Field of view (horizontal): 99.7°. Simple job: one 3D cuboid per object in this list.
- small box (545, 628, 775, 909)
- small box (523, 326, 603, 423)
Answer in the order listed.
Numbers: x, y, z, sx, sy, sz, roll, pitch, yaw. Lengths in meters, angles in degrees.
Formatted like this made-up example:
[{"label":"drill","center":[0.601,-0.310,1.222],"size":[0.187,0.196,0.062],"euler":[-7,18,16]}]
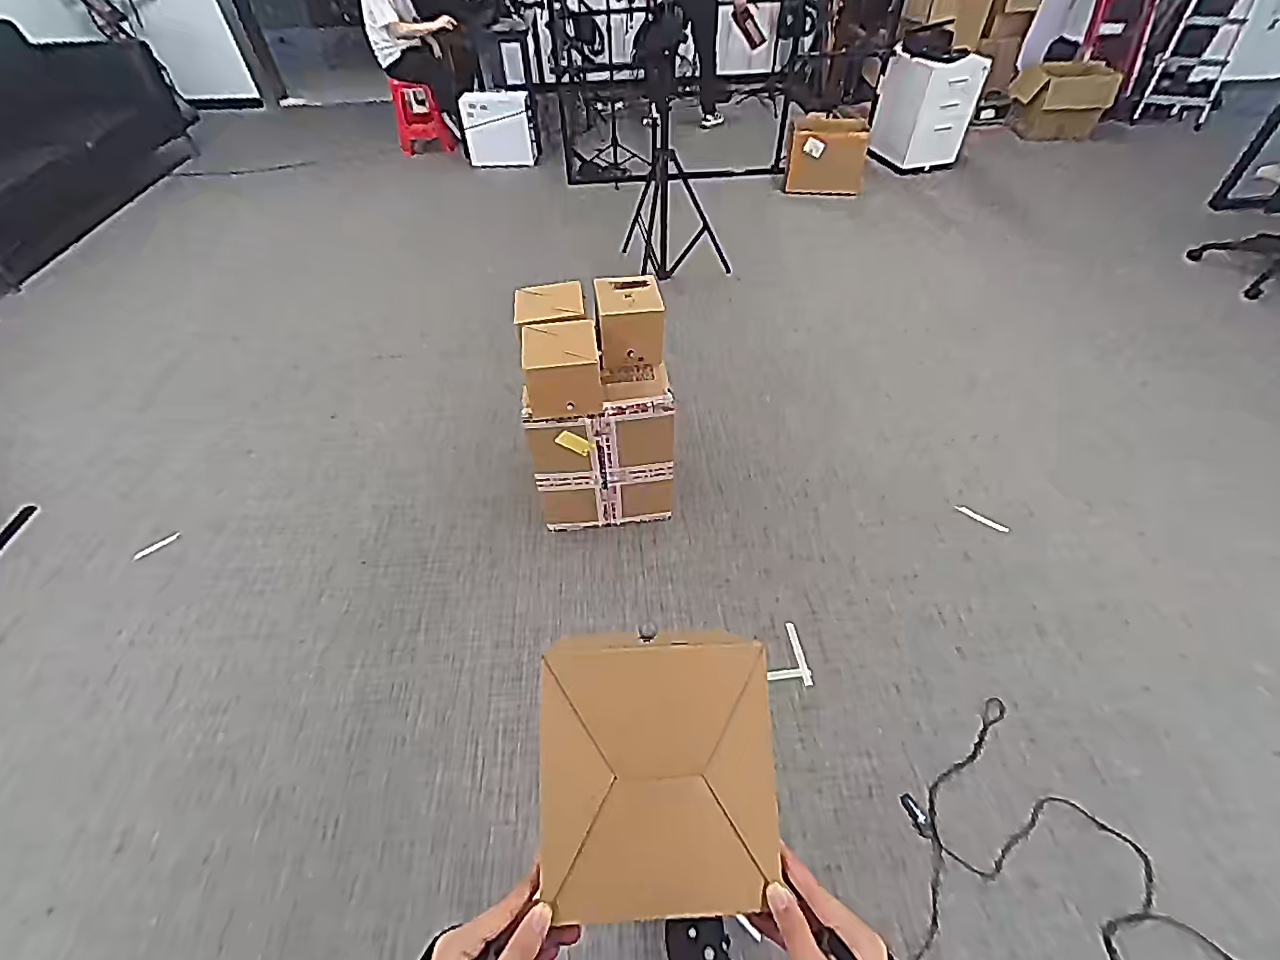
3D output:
[{"label":"small box","center":[0.010,0.225,0.464],"size":[0.168,0.176,0.179],"euler":[-1,79,-4]},{"label":"small box","center":[-0.190,-0.264,1.338],"size":[0.179,0.176,0.168],"euler":[-7,51,-4]}]
